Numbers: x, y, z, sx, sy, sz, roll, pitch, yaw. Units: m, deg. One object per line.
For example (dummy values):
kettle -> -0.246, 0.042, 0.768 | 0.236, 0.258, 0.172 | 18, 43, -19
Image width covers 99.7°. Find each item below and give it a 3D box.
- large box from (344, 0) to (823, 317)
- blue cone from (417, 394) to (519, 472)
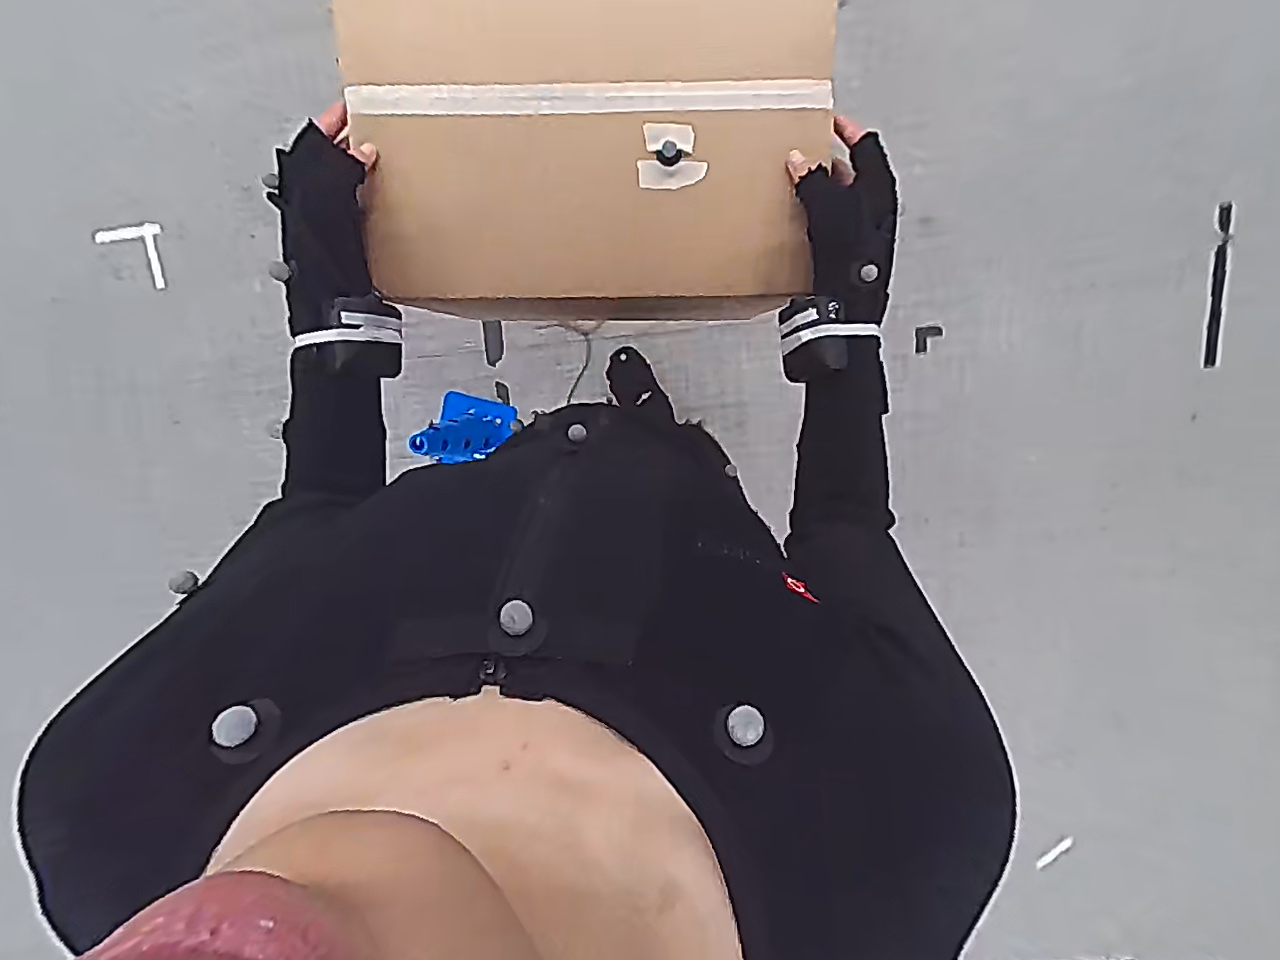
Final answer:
large box -> -0.047, -0.362, 0.607 | 0.408, 0.320, 0.320 | -1, 103, 0
blue cone -> -0.439, -0.102, 1.304 | 0.193, 0.380, 0.192 | 16, 99, 0
